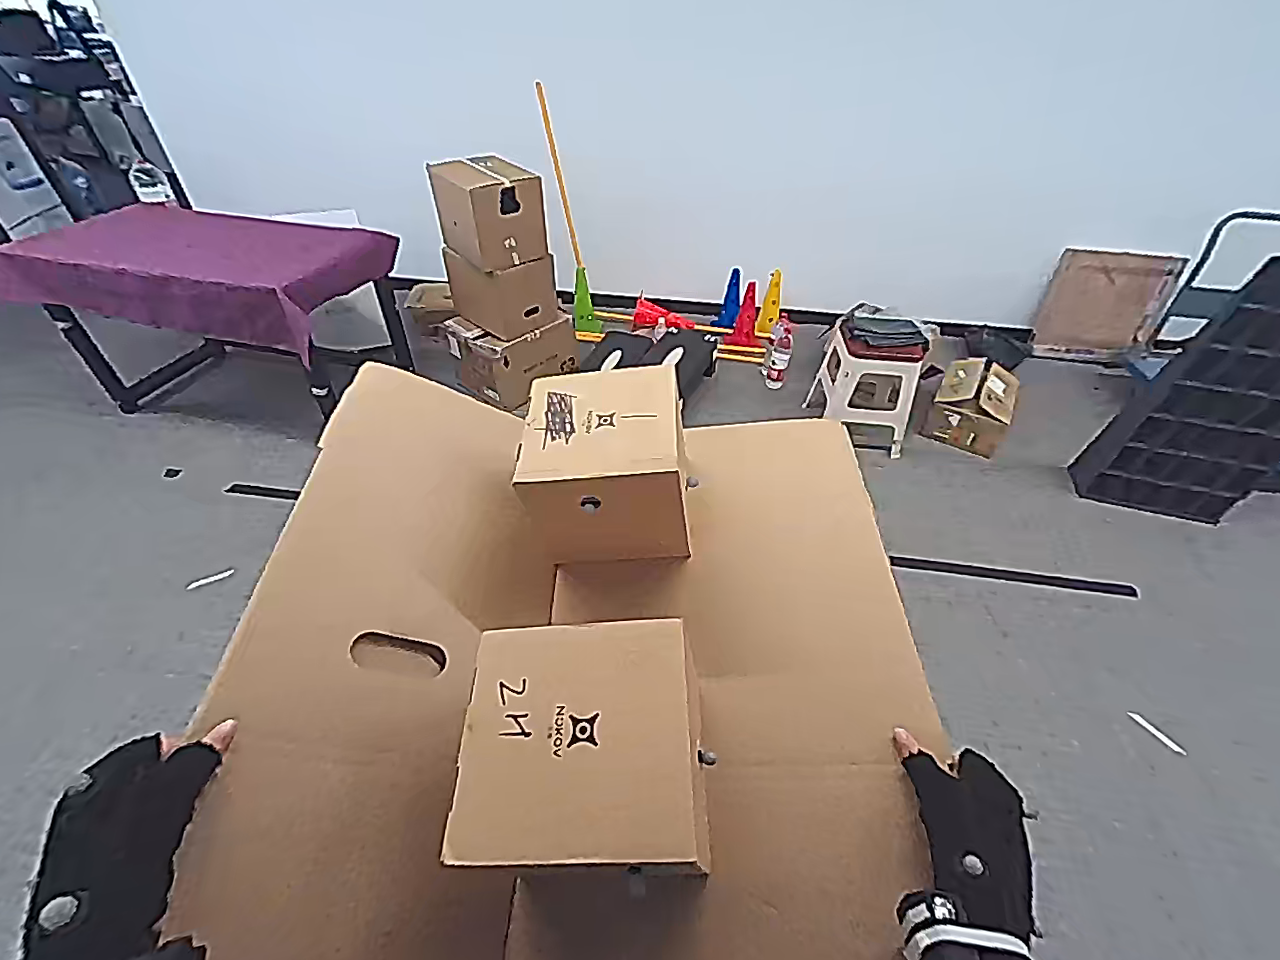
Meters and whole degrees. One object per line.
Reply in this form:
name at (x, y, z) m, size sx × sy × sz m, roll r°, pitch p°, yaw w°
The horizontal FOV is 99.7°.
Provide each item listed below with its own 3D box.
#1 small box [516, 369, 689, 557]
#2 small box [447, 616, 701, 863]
small box at (-0.034, -0.014, 0.678) m, size 0.179 × 0.176 × 0.168 m, roll -4°, pitch 51°, yaw 7°
small box at (-0.038, 0.234, 0.481) m, size 0.179 × 0.176 × 0.168 m, roll -5°, pitch 51°, yaw 8°
